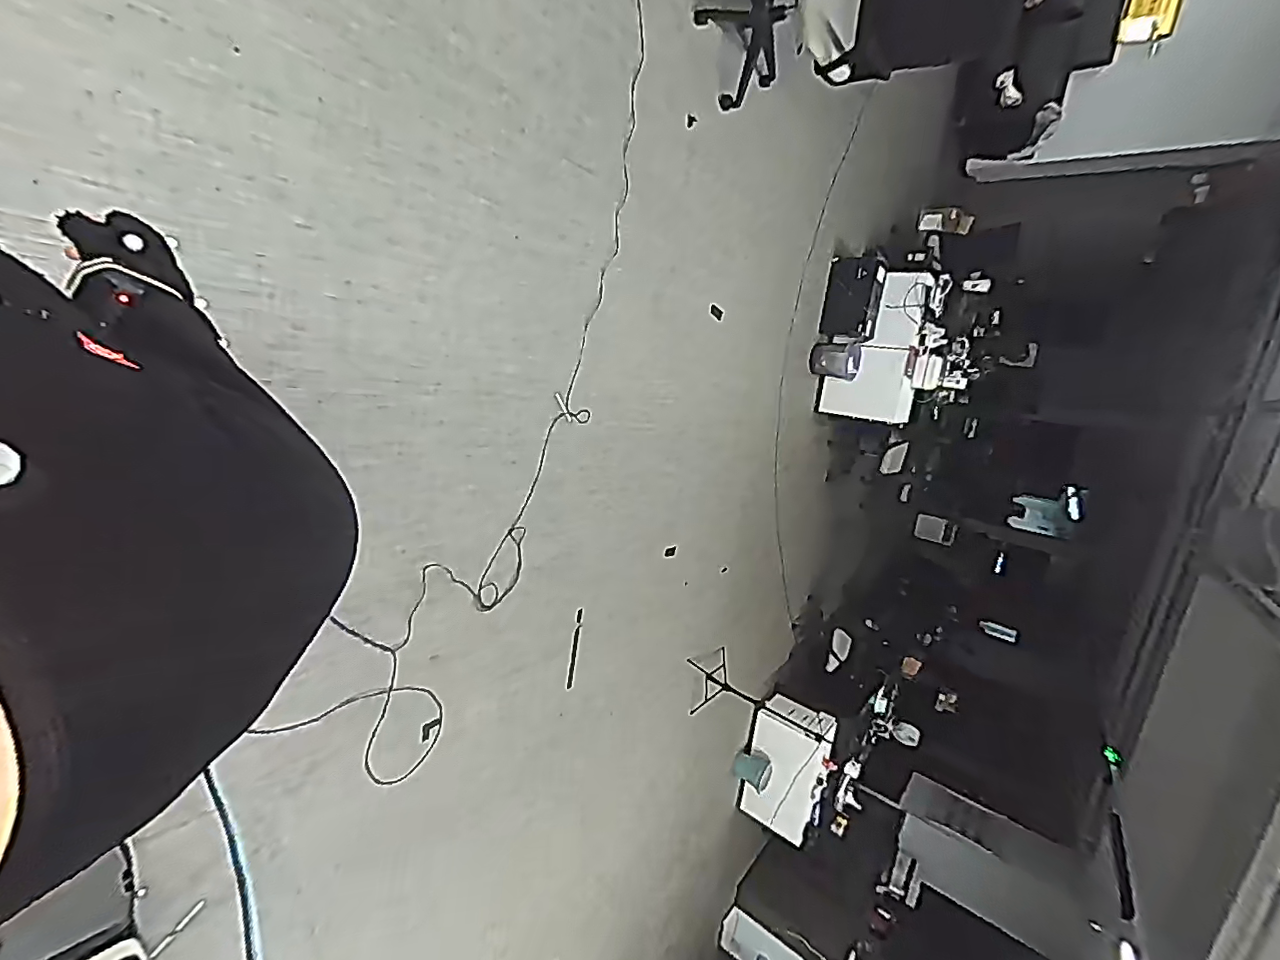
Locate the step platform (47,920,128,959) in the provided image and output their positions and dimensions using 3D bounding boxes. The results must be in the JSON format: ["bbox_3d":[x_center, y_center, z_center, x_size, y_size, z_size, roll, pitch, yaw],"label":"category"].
[{"bbox_3d":[-1.424,1.226,1.023,0.684,0.204,0.286,-9,111,-50],"label":"step platform"}]
